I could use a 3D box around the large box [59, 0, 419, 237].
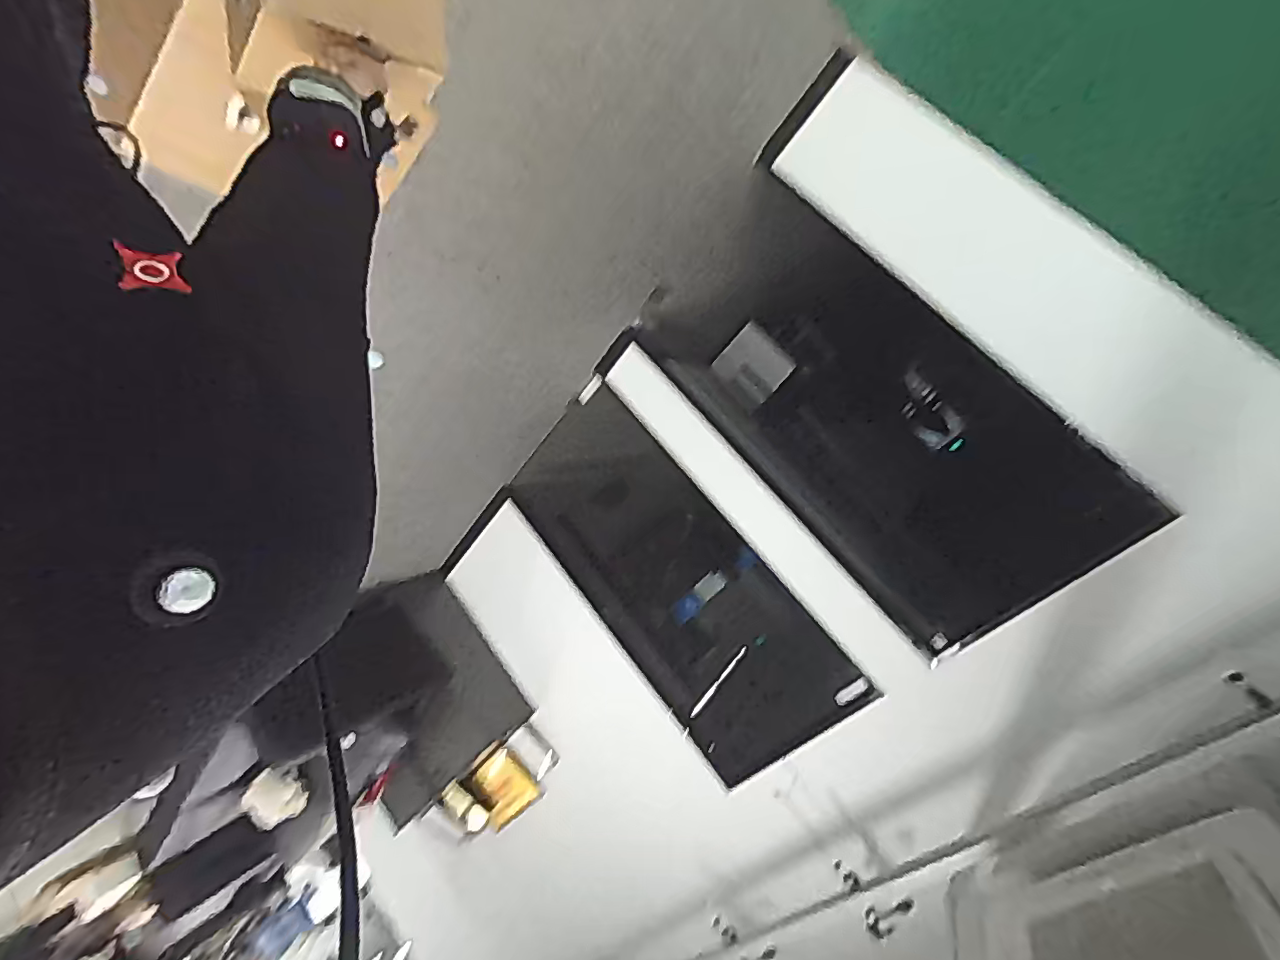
[{"bbox_3d":[-0.638,-0.712,0.890,0.408,0.320,0.320,-44,163,18],"label":"large box"}]

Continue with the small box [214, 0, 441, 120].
[{"bbox_3d":[-0.325,-0.511,0.555,0.176,0.179,0.168,6,-168,45],"label":"small box"}]
